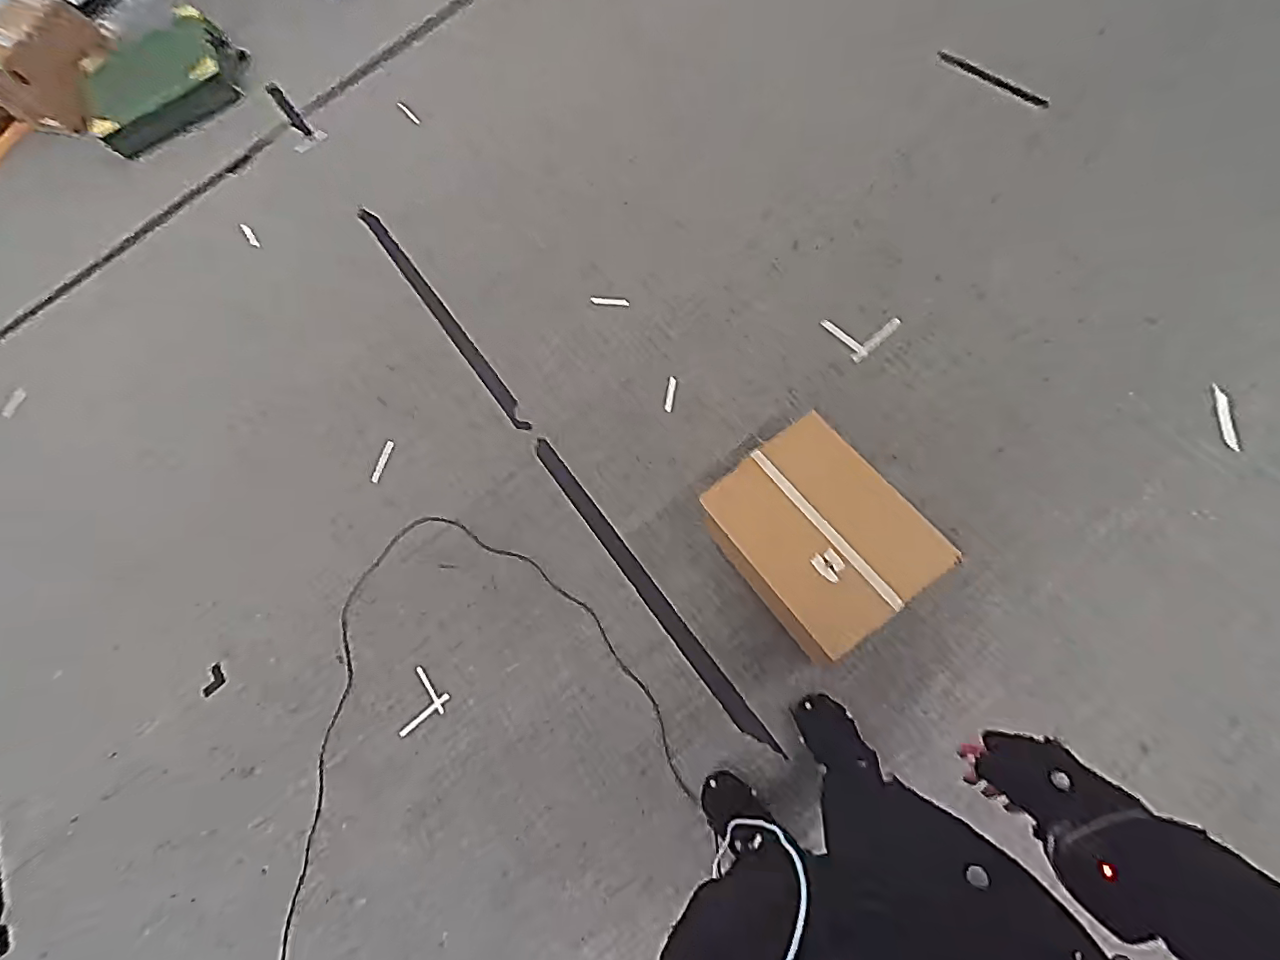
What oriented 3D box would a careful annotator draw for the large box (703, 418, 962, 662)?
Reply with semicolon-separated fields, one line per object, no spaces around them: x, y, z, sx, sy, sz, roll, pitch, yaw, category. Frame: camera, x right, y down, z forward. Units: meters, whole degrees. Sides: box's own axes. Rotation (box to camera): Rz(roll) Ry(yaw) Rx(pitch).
0.390;0.146;1.204;0.320;0.320;0.408;-38;68;-2;large box
